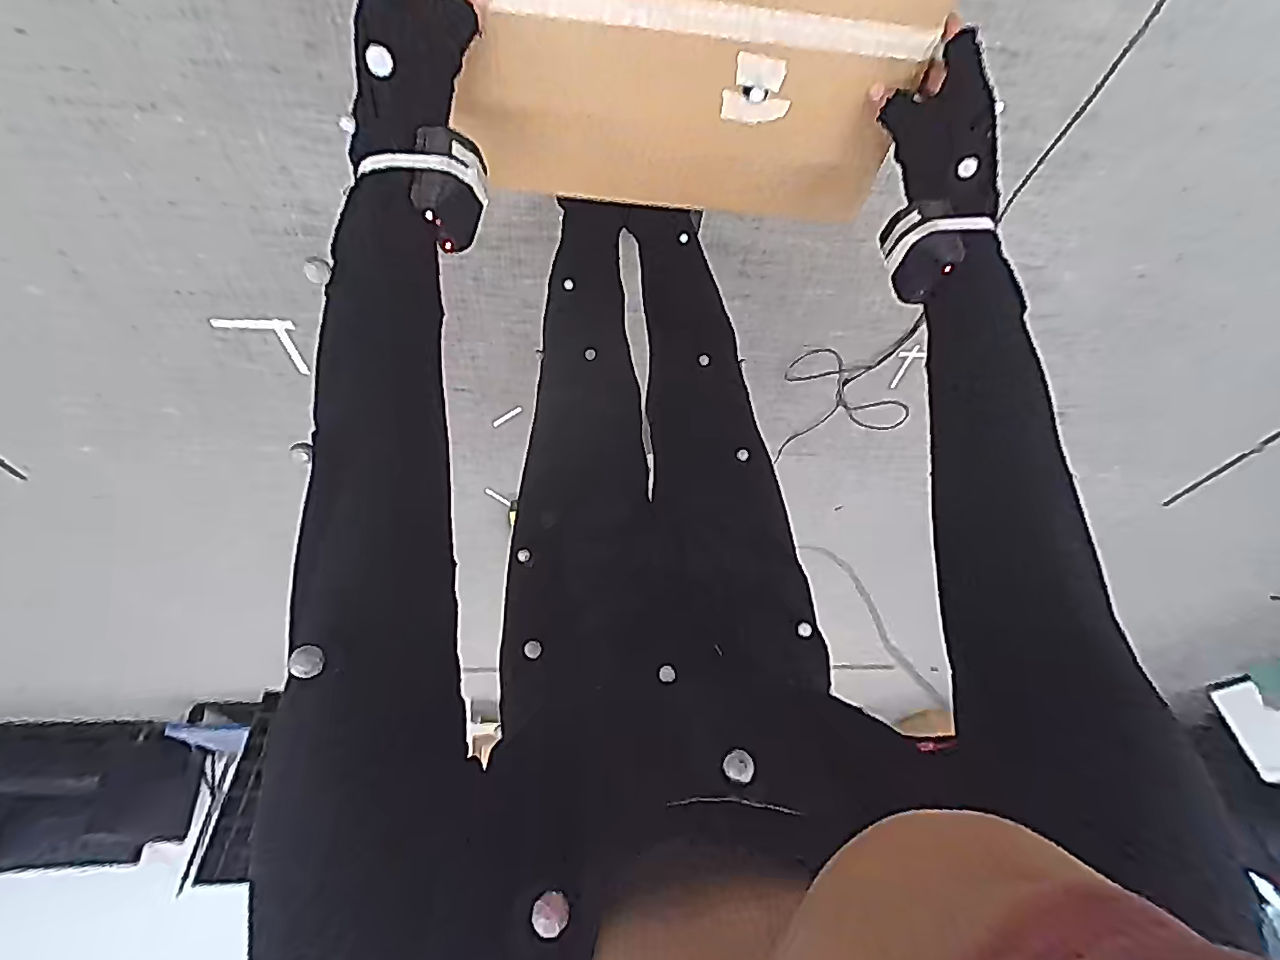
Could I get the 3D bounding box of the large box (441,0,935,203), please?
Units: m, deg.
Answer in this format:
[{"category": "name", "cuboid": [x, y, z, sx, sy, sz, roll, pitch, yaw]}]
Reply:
[{"category": "large box", "cuboid": [0.034, -0.508, 0.516, 0.408, 0.320, 0.320, 2, 148, -5]}]
